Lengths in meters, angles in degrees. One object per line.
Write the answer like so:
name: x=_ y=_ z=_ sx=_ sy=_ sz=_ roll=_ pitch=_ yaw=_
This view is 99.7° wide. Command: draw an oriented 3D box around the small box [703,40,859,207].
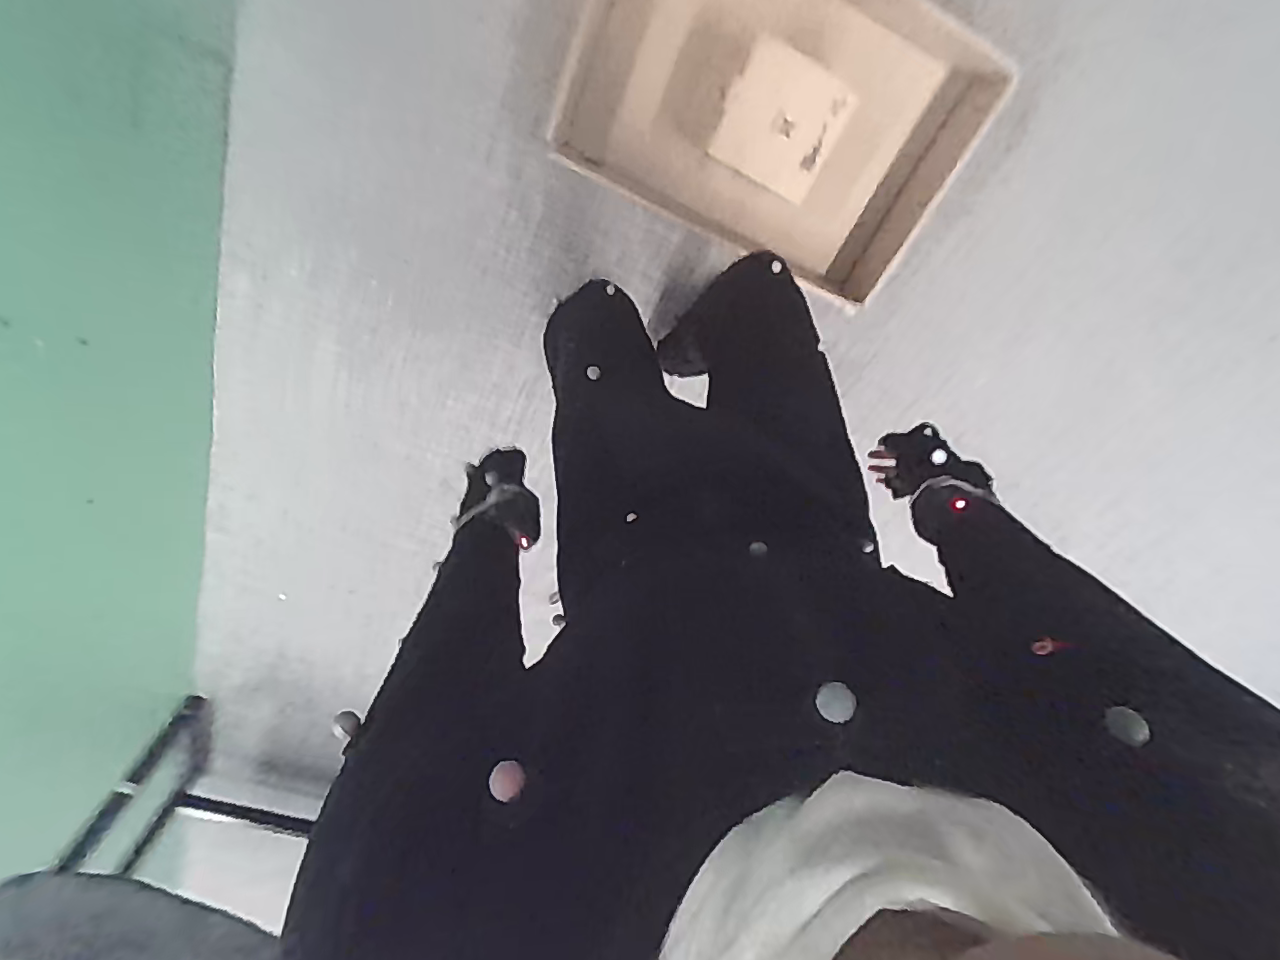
small box: x=0.217 y=-0.575 z=0.893 sx=0.179 sy=0.176 sz=0.168 roll=20 pitch=119 yaw=-12
